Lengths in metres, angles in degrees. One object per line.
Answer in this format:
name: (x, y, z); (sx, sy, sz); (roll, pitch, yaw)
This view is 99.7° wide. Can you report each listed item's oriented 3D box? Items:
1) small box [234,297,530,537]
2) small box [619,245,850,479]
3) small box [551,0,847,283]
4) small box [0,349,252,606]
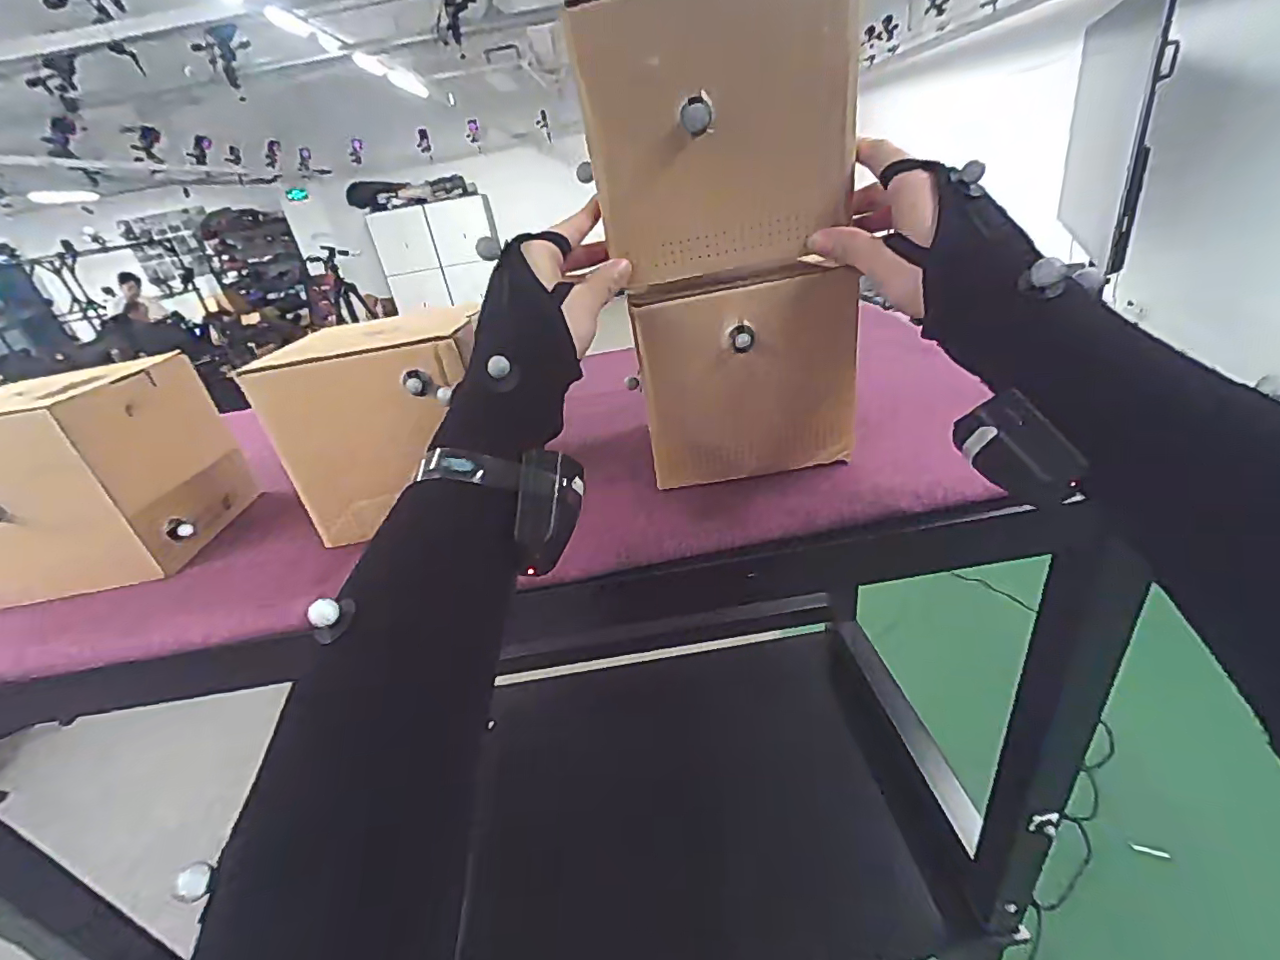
small box: (-0.219, -0.062, 0.517); (0.179, 0.176, 0.168); (-10, 29, 0)
small box: (0.083, -0.114, 0.506); (0.179, 0.176, 0.168); (-9, 29, 4)
small box: (0.047, -0.265, 0.414); (0.179, 0.176, 0.168); (-11, 34, 5)
small box: (-0.523, -0.006, 0.512); (0.179, 0.176, 0.168); (-12, 29, -1)
